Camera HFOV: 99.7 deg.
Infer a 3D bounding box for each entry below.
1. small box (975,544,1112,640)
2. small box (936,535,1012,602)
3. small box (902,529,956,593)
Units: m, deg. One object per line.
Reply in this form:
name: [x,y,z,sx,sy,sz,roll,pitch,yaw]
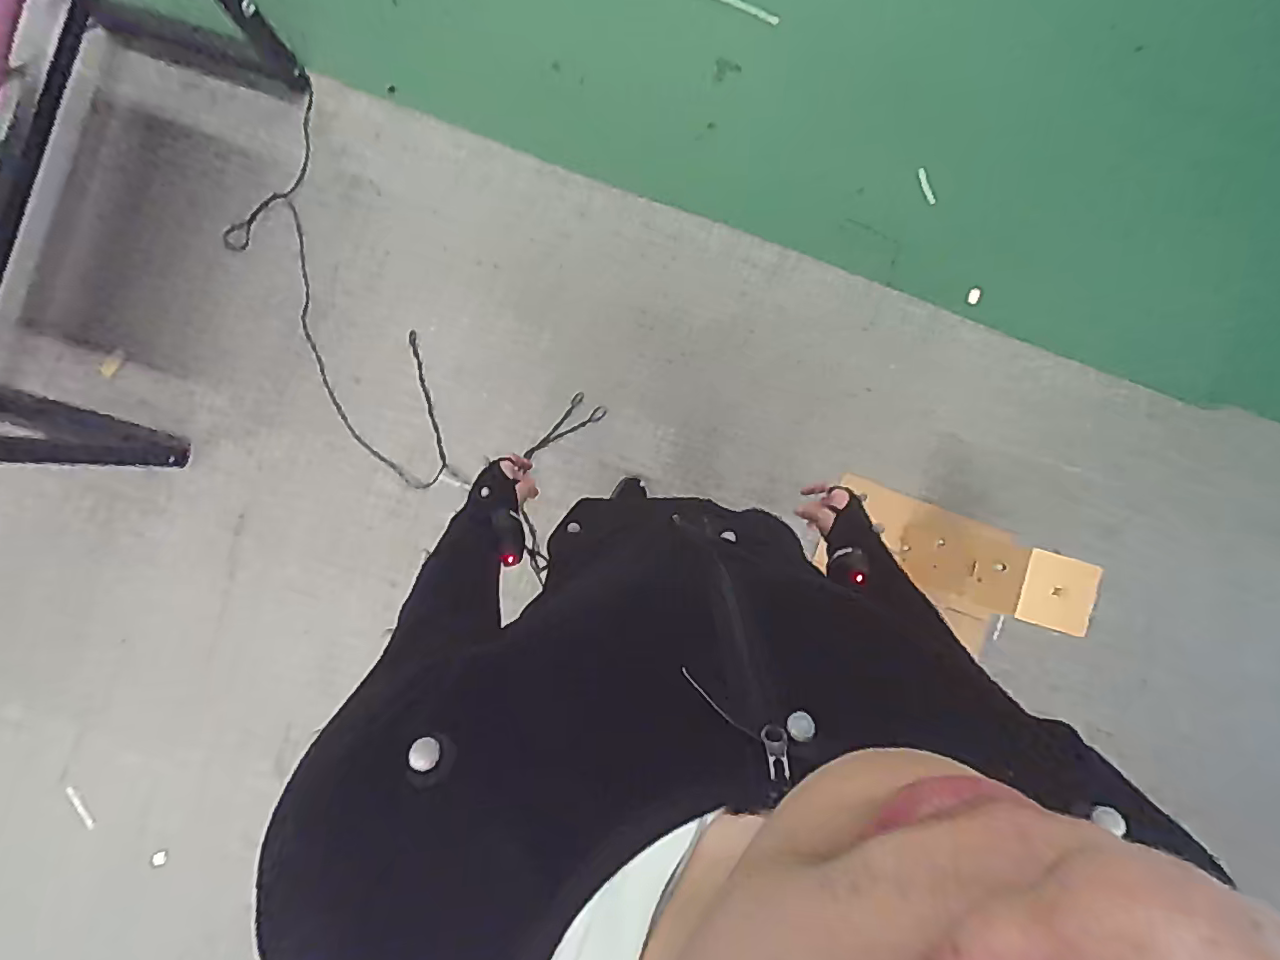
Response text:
small box: [0.930,0.251,1.263,0.179,0.176,0.168,16,89,-4]
small box: [0.921,0.245,1.424,0.179,0.176,0.168,16,89,-4]
small box: [0.911,0.245,1.587,0.179,0.176,0.168,12,89,-3]
